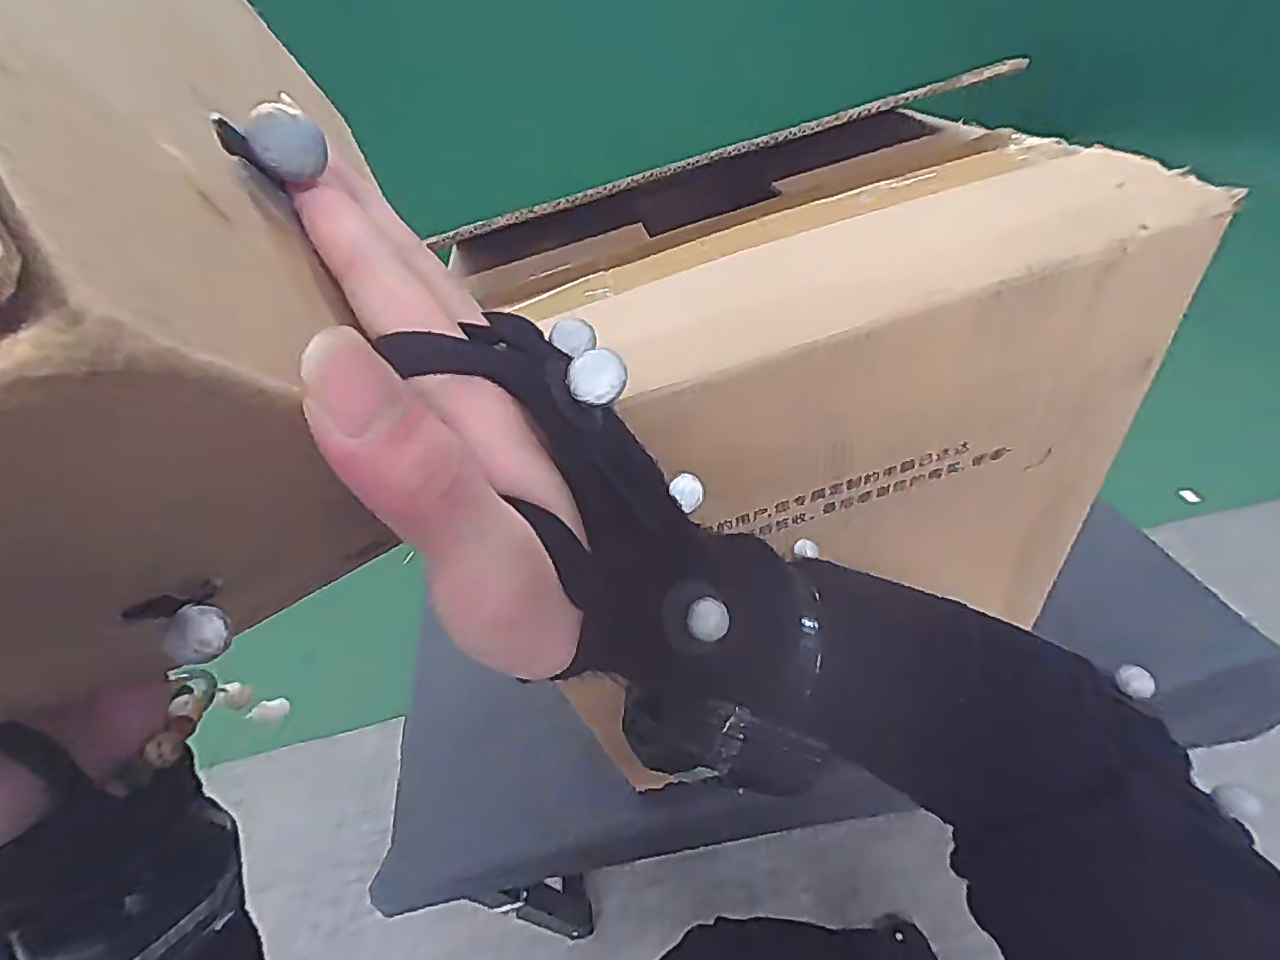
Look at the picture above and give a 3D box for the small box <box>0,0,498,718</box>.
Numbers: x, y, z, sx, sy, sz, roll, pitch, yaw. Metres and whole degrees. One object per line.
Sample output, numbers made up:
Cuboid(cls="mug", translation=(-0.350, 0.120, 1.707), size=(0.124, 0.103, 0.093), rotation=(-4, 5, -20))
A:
Cuboid(cls="small box", translation=(-0.164, -0.039, 0.144), size=(0.168, 0.176, 0.179), rotation=(-29, 85, 1))
